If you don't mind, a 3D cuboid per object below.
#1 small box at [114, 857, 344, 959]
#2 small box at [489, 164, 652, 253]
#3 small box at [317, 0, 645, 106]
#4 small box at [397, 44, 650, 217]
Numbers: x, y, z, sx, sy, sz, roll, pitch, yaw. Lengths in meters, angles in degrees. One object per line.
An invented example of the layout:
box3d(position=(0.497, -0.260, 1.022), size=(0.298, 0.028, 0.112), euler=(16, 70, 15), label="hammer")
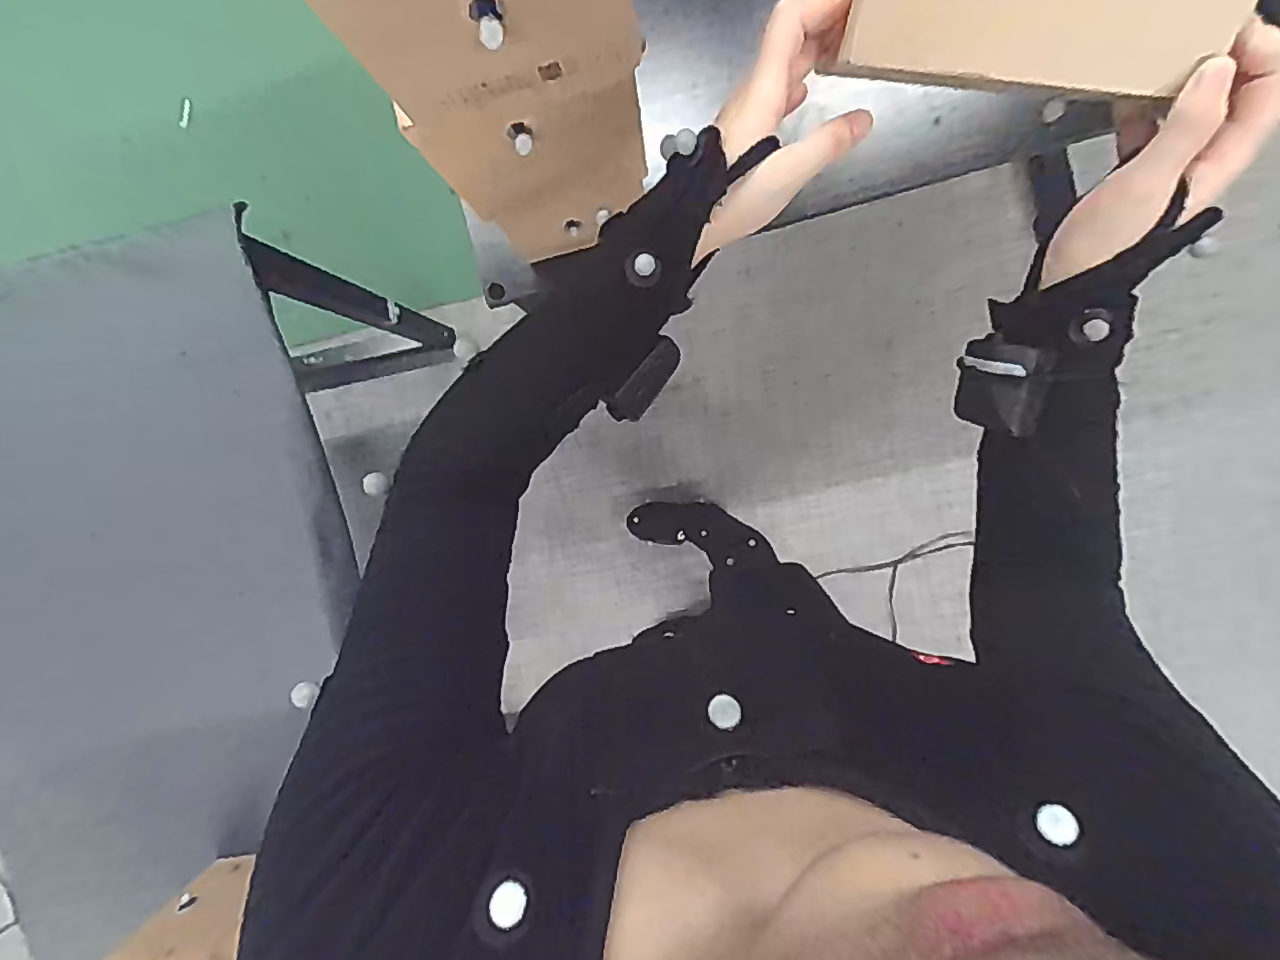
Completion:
box3d(position=(-0.546, 0.653, 0.739), size=(0.168, 0.176, 0.179), euler=(-13, 93, 9), label="small box")
box3d(position=(-0.086, -0.376, 0.610), size=(0.168, 0.176, 0.179), euler=(-13, 93, 6), label="small box")
box3d(position=(-0.097, -0.339, 0.286), size=(0.168, 0.176, 0.179), euler=(-11, 94, 7), label="small box")
box3d(position=(-0.091, -0.350, 0.450), size=(0.179, 0.176, 0.168), euler=(-13, 93, 7), label="small box")
